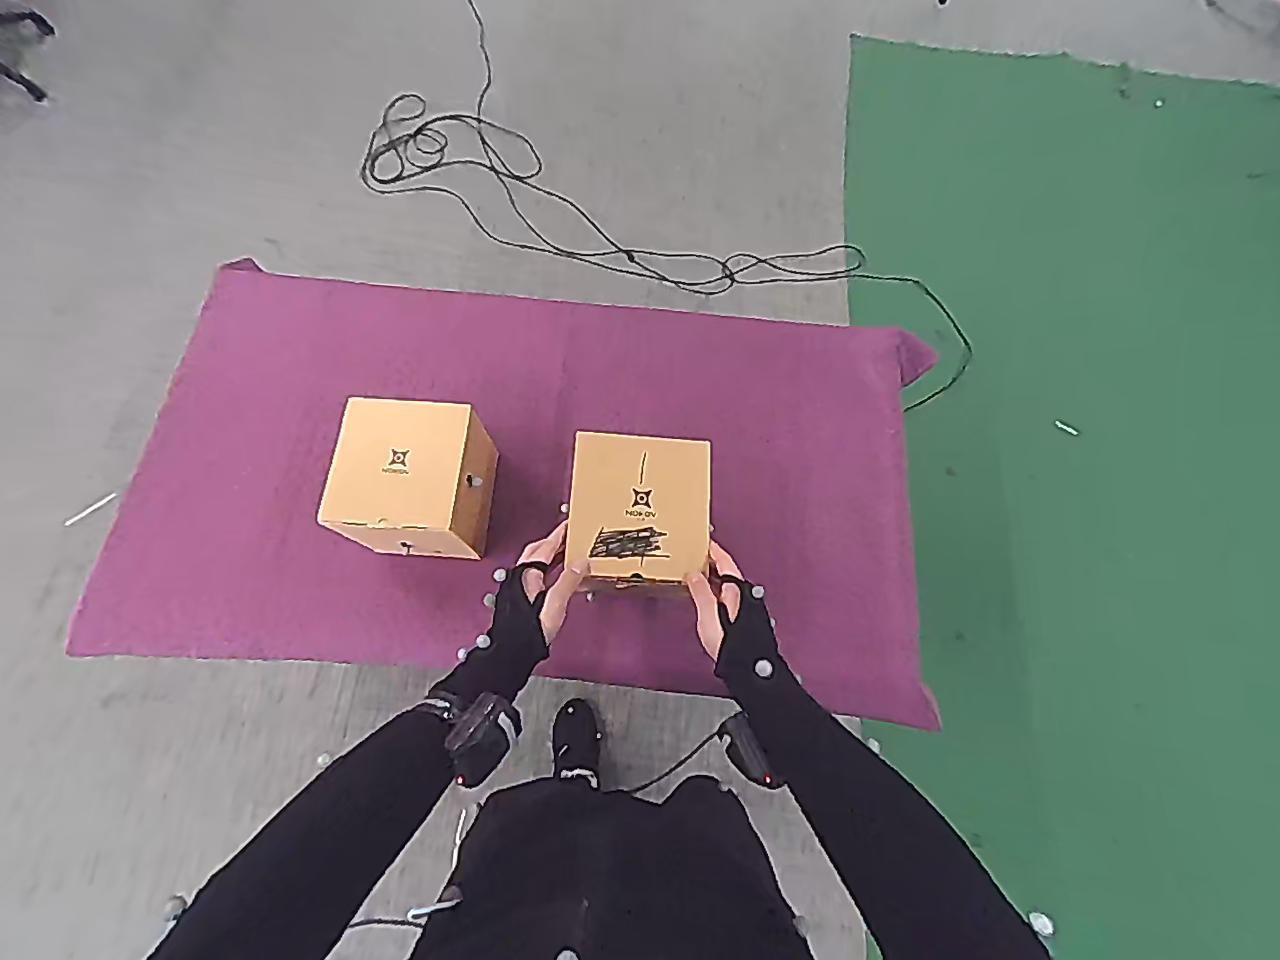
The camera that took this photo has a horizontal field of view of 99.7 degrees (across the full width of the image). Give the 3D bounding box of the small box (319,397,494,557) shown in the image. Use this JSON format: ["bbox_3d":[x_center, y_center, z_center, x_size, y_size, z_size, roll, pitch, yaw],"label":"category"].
[{"bbox_3d":[-0.314,0.003,0.769,0.168,0.176,0.179,4,72,-1],"label":"small box"}]

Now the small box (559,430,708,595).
[{"bbox_3d":[-0.010,0.052,0.706,0.168,0.176,0.179,5,72,-4],"label":"small box"}]
